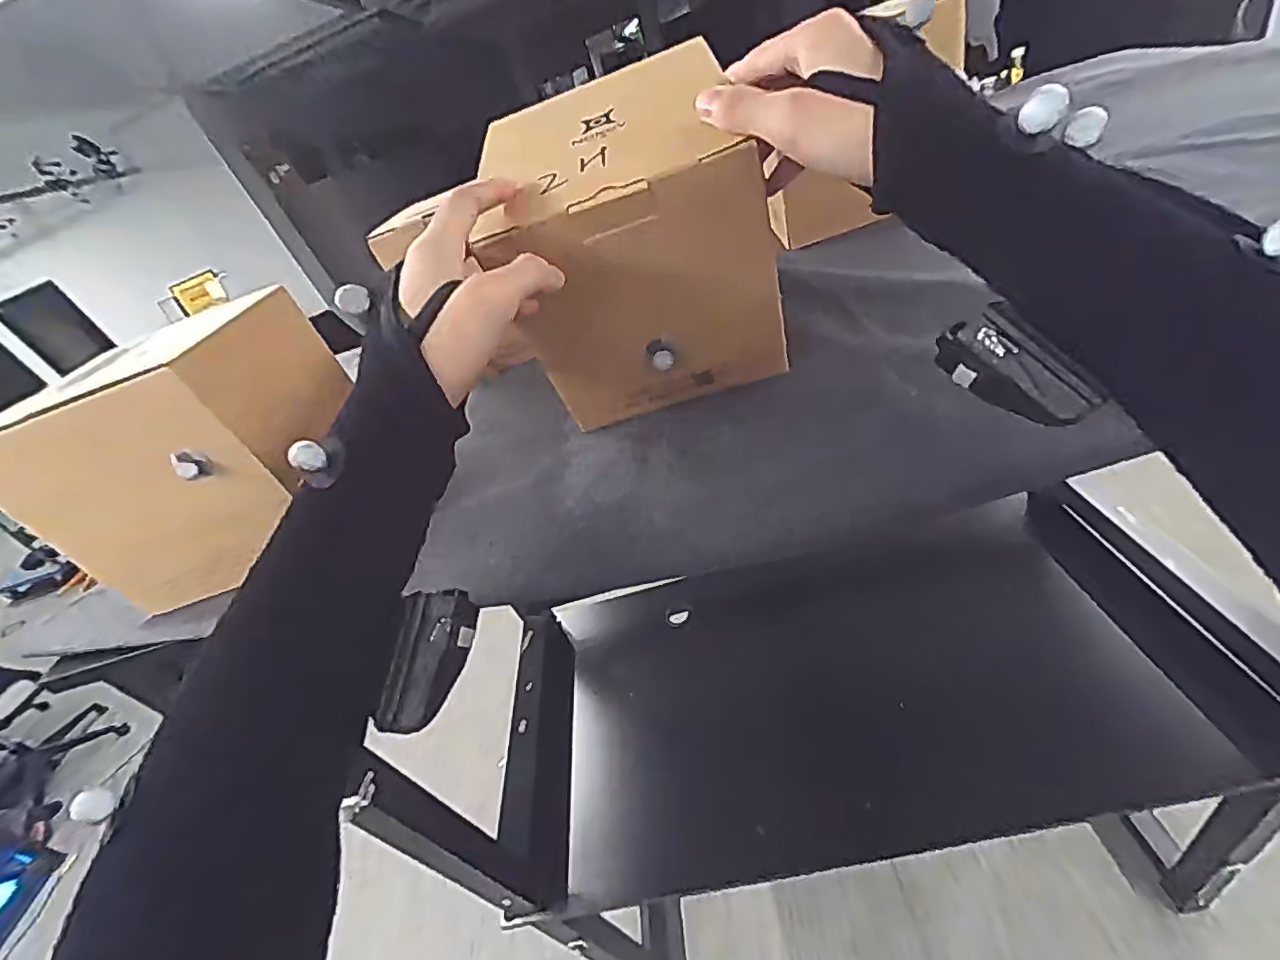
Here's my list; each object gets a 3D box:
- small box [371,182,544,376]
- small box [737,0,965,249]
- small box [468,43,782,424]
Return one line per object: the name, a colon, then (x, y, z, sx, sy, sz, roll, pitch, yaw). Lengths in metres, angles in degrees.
small box: (-0.161, -0.238, 0.619, 0.168, 0.176, 0.179, -18, 35, 9)
small box: (0.217, -0.376, 0.577, 0.179, 0.176, 0.168, -17, 36, 12)
small box: (-0.002, -0.172, 0.400, 0.168, 0.176, 0.179, -16, 51, 11)
